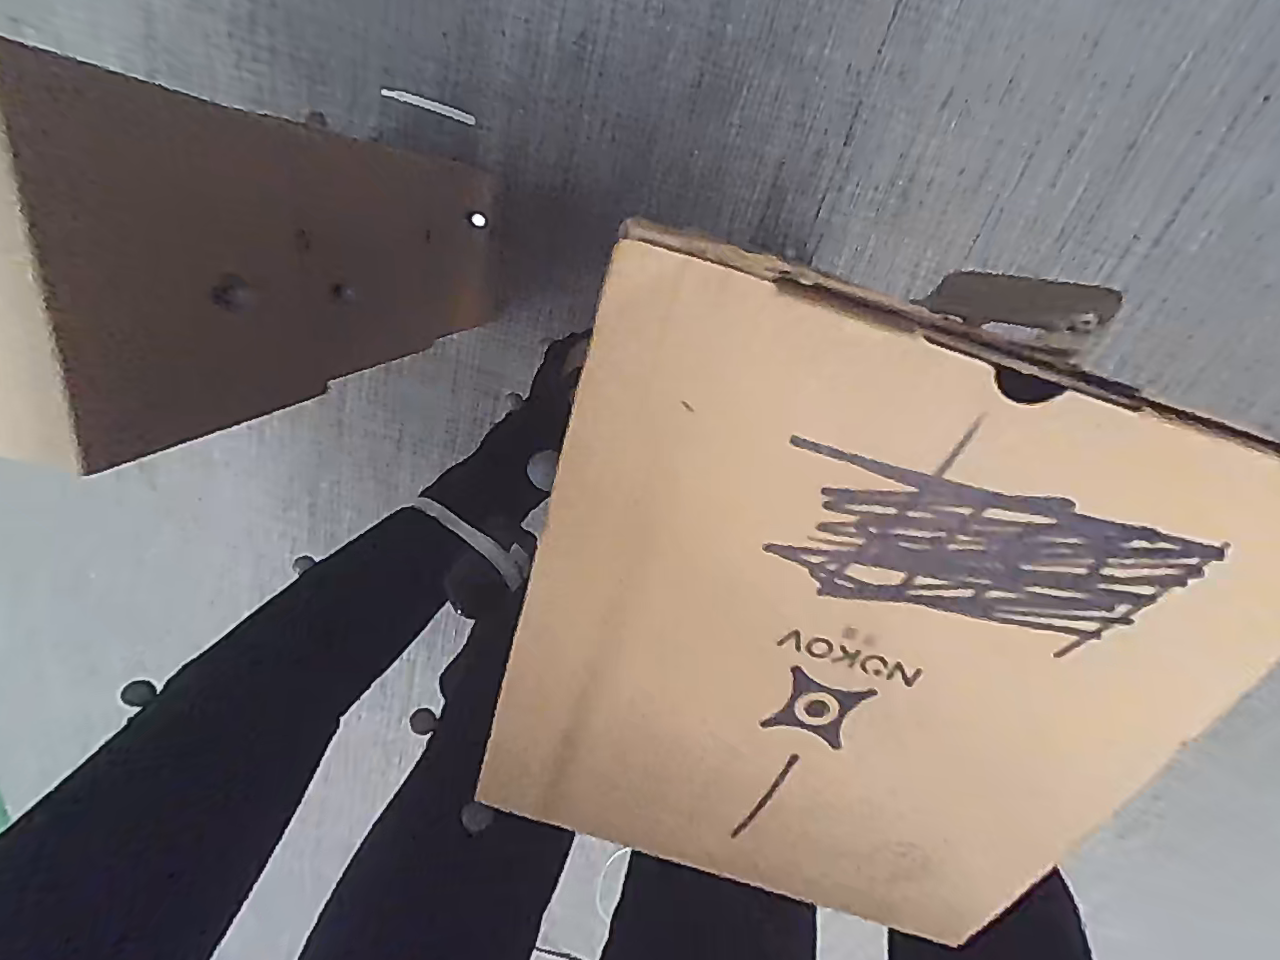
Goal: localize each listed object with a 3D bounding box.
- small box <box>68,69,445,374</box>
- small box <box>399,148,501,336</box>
[{"bbox_3d":[-0.285,-0.200,0.444,0.179,0.176,0.168,13,114,3],"label":"small box"},{"bbox_3d":[-0.267,-0.269,0.591,0.179,0.176,0.168,14,114,4],"label":"small box"}]
